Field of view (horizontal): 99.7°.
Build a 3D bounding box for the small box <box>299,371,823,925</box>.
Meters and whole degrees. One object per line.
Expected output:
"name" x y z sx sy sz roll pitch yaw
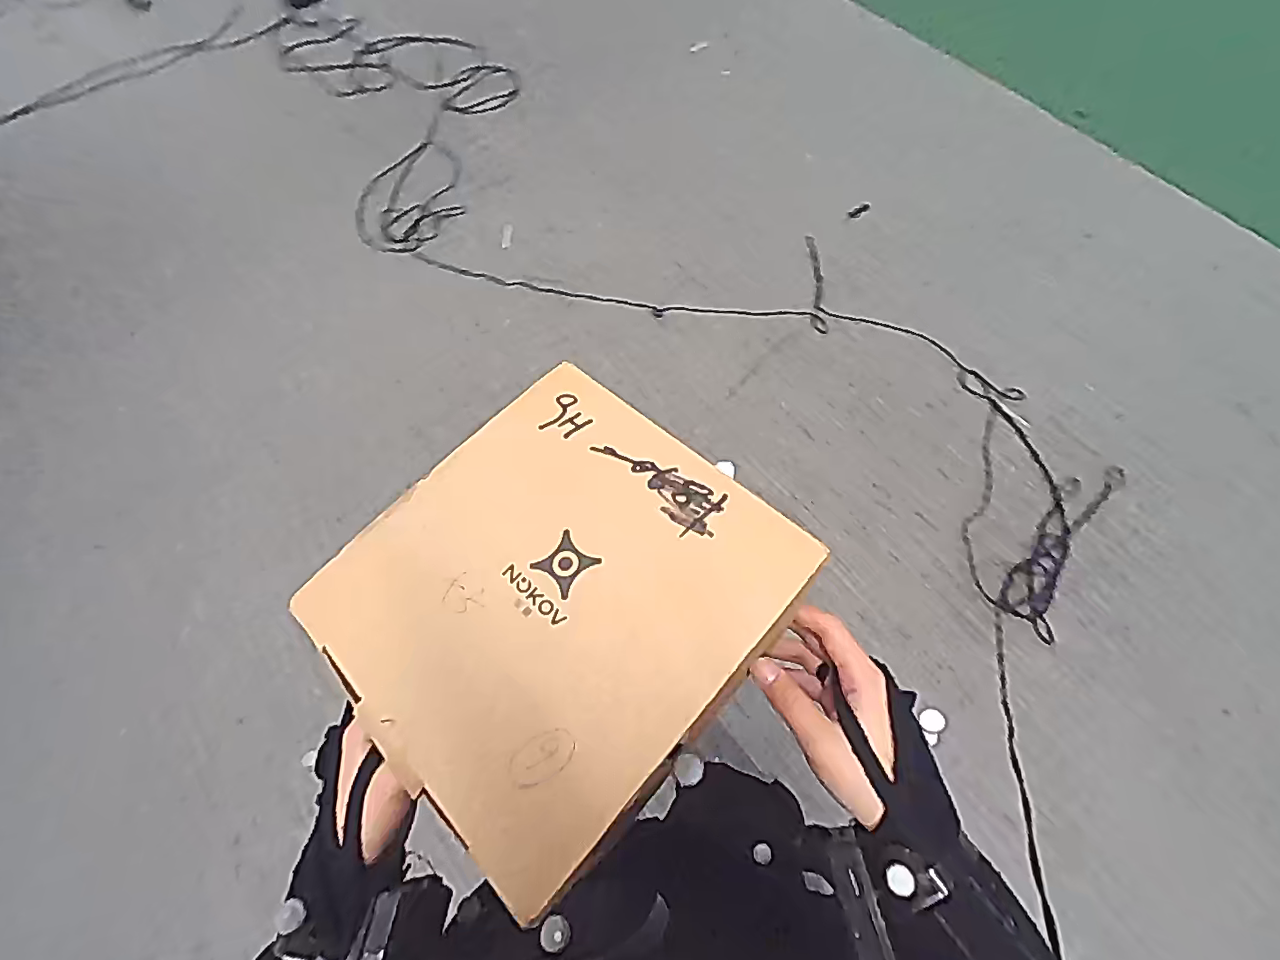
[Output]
"small box" -0.029 0.083 0.301 0.168 0.176 0.179 39 73 23
